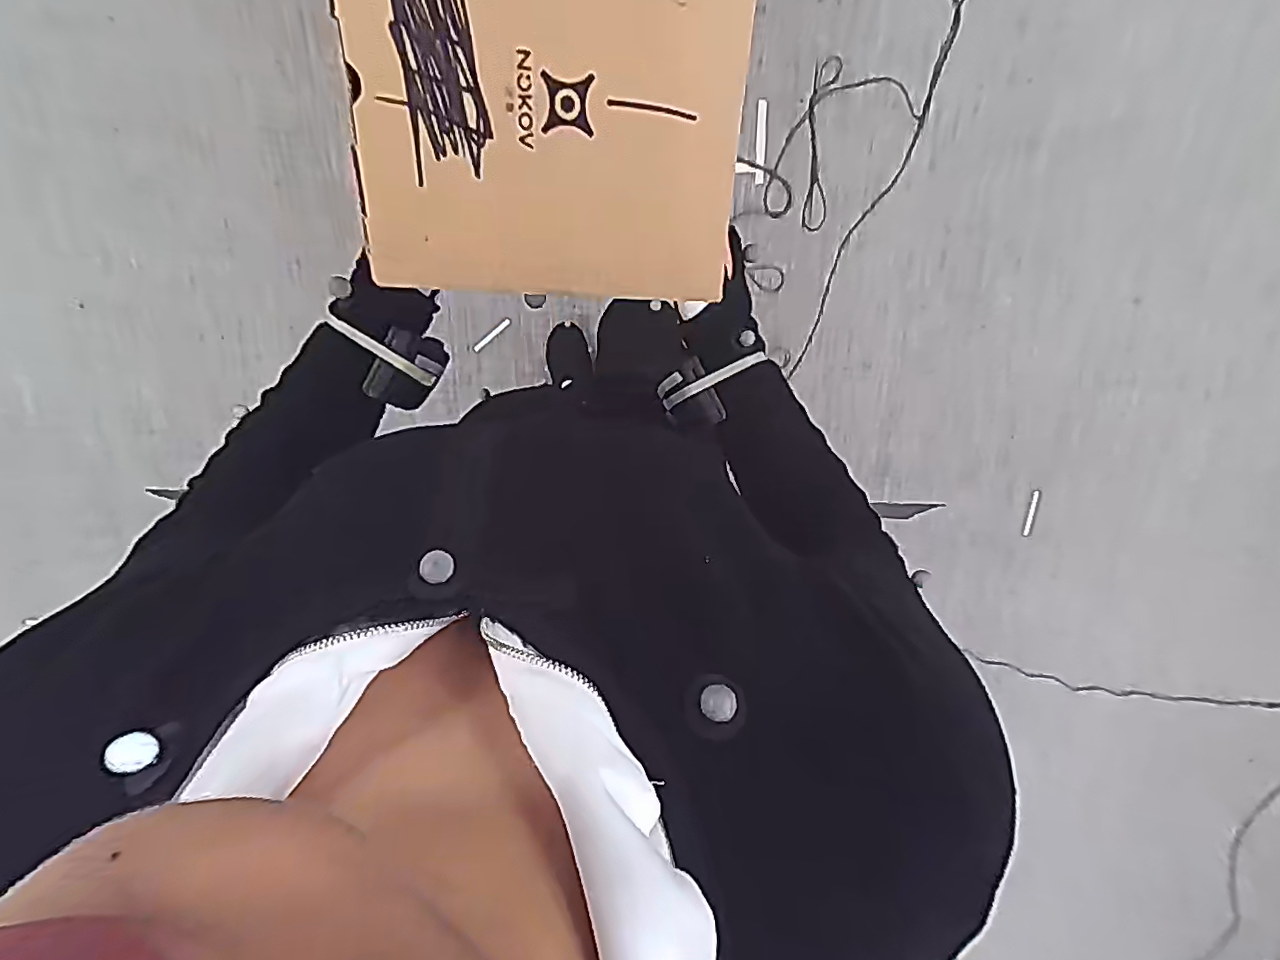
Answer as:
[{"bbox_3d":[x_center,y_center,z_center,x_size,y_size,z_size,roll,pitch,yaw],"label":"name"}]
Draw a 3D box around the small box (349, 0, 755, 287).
[{"bbox_3d":[-0.043,-0.214,0.317,0.179,0.176,0.168,1,117,-5],"label":"small box"}]
